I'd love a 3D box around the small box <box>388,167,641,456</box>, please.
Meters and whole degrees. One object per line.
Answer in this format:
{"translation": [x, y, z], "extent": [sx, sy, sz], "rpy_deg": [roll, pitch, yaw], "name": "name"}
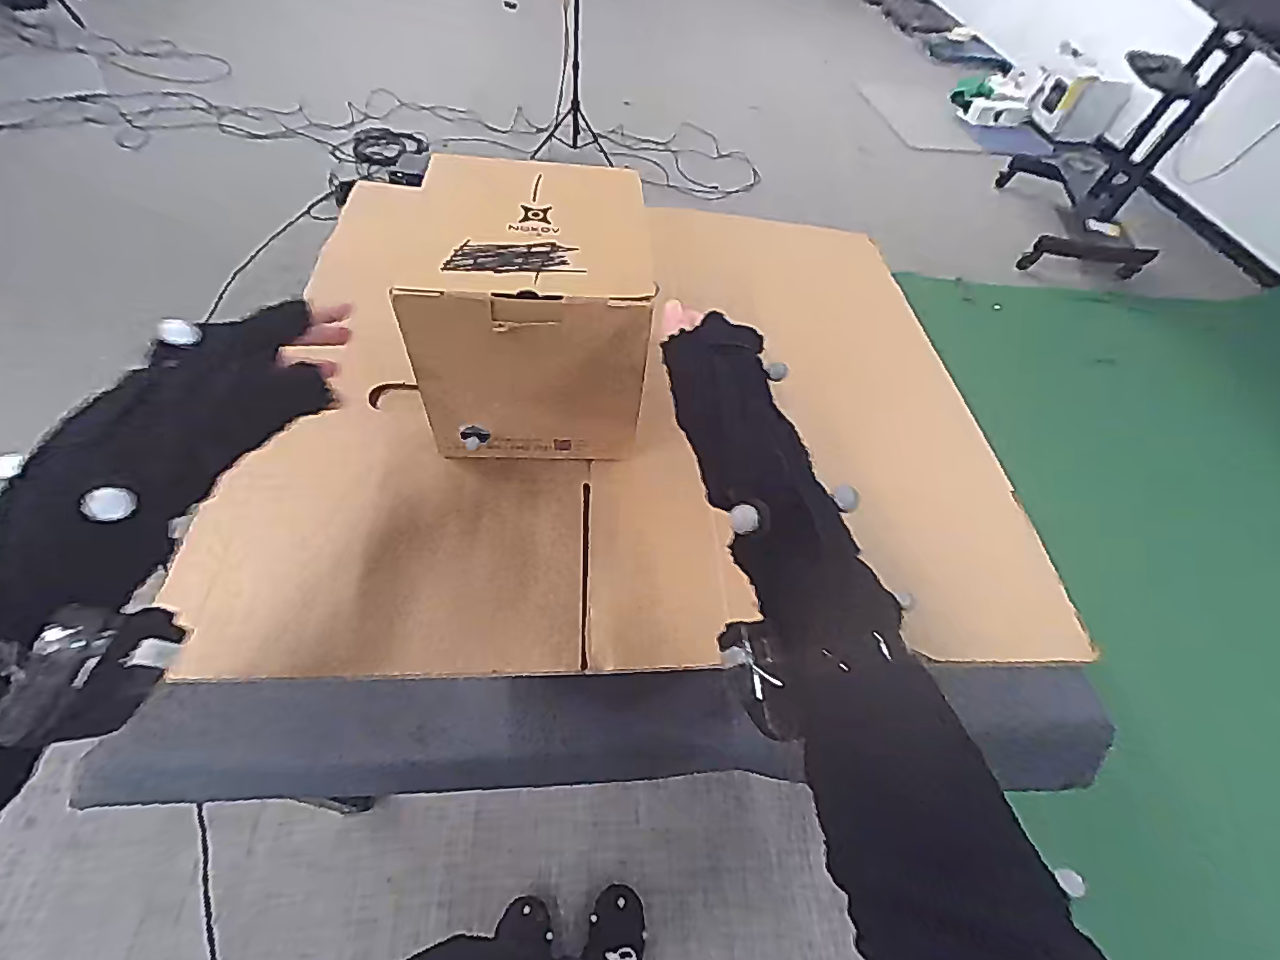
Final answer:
{"translation": [-0.090, -0.134, 0.459], "extent": [0.168, 0.176, 0.179], "rpy_deg": [1, 54, -7], "name": "small box"}
